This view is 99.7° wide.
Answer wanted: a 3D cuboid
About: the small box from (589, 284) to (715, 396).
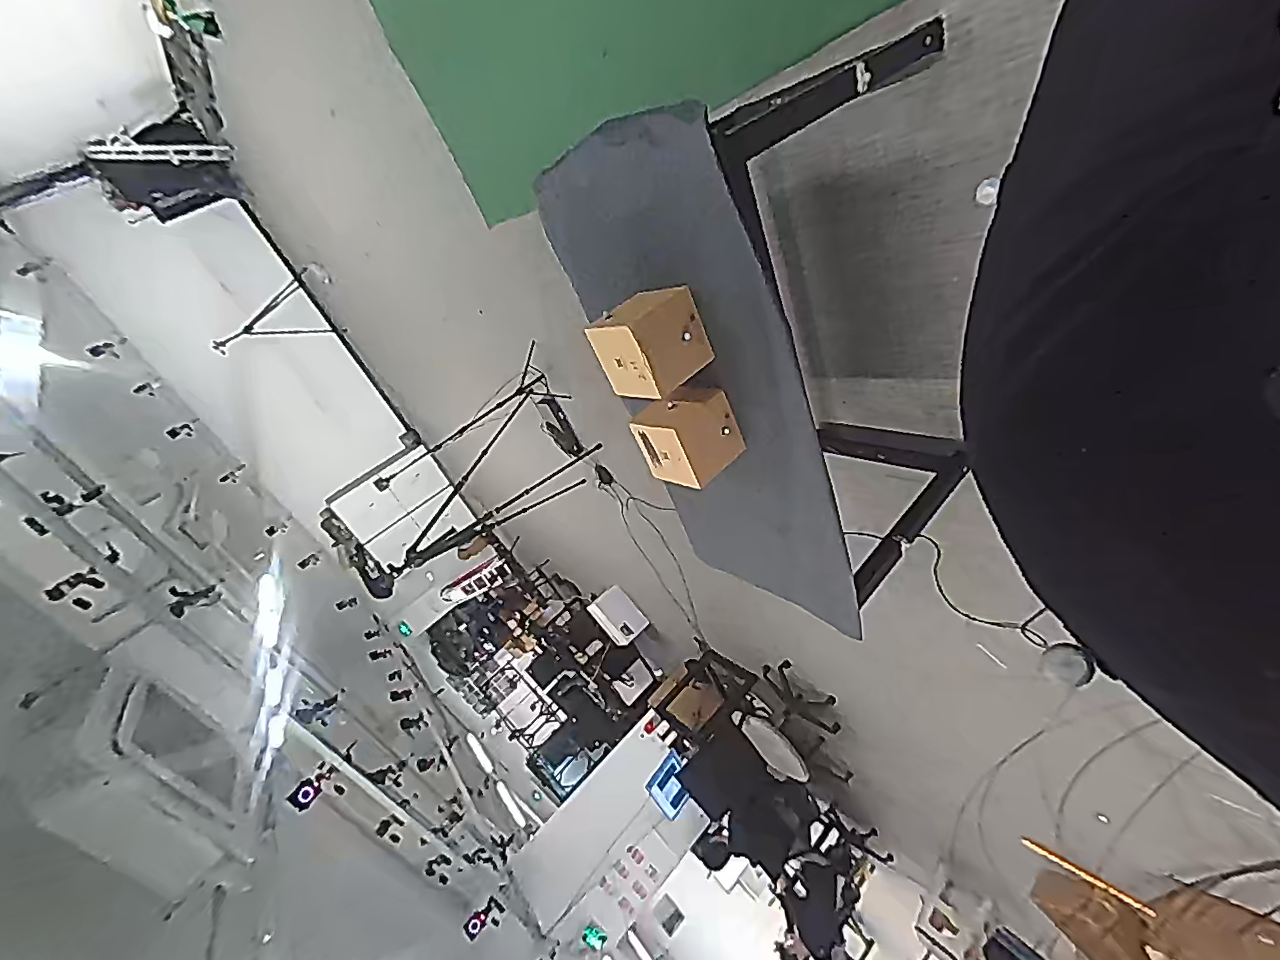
[{"bbox_3d":[0.028,-0.299,1.153,0.179,0.176,0.168,17,141,52],"label":"small box"}]
